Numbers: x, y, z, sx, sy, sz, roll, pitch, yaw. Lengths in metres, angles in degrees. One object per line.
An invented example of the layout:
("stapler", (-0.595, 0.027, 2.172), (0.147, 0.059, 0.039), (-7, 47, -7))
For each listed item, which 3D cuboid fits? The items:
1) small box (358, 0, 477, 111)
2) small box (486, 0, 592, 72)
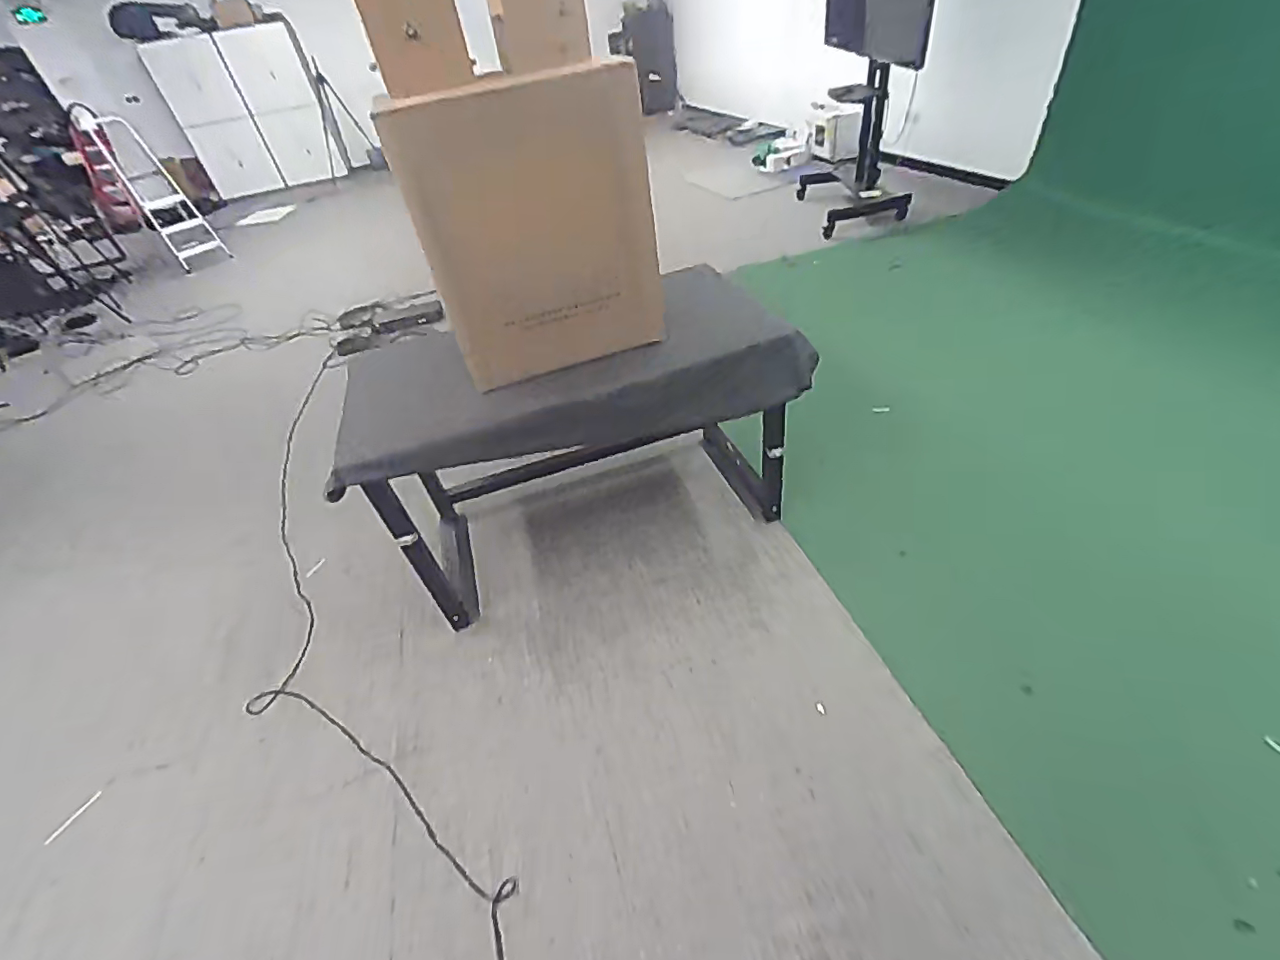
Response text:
("small box", (-0.441, -0.870, 1.088), (0.179, 0.176, 0.168), (-22, 44, -10))
("small box", (-0.212, -0.965, 1.119), (0.168, 0.176, 0.179), (-23, 46, -14))
